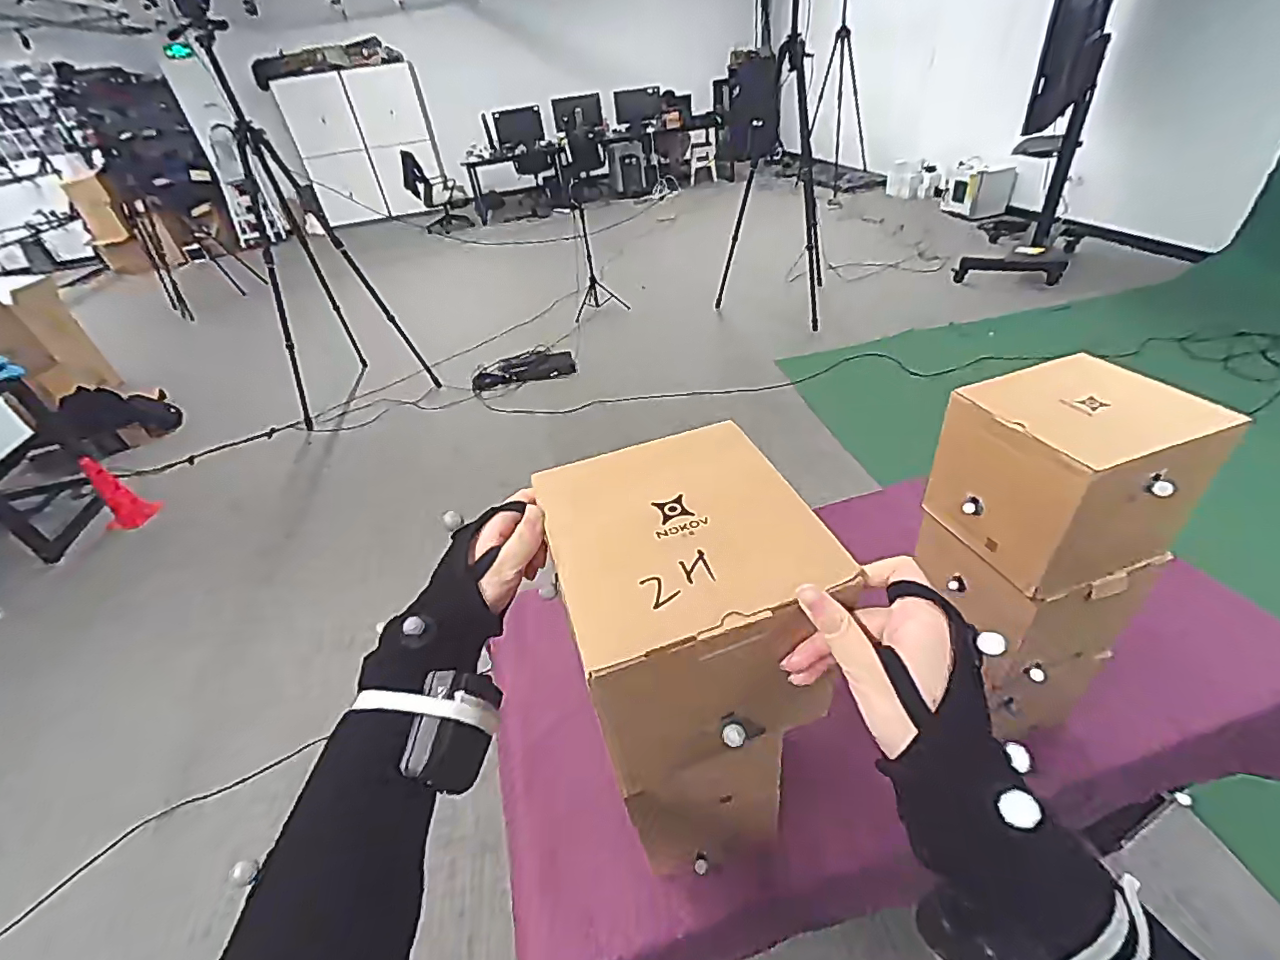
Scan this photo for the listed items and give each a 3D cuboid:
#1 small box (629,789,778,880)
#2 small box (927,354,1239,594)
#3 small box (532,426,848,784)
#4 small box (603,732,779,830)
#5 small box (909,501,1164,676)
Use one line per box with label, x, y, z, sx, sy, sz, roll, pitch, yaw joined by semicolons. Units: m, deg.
small box;0.068;0.377;0.704;0.168;0.176;0.179;-13;38;-3
small box;0.444;-0.009;0.581;0.179;0.176;0.168;-17;37;-8
small box;0.026;0.089;0.412;0.168;0.176;0.179;-17;42;-10
small box;0.045;0.248;0.604;0.168;0.176;0.179;-14;36;-3
small box;0.471;0.119;0.677;0.168;0.176;0.179;-16;36;-8
